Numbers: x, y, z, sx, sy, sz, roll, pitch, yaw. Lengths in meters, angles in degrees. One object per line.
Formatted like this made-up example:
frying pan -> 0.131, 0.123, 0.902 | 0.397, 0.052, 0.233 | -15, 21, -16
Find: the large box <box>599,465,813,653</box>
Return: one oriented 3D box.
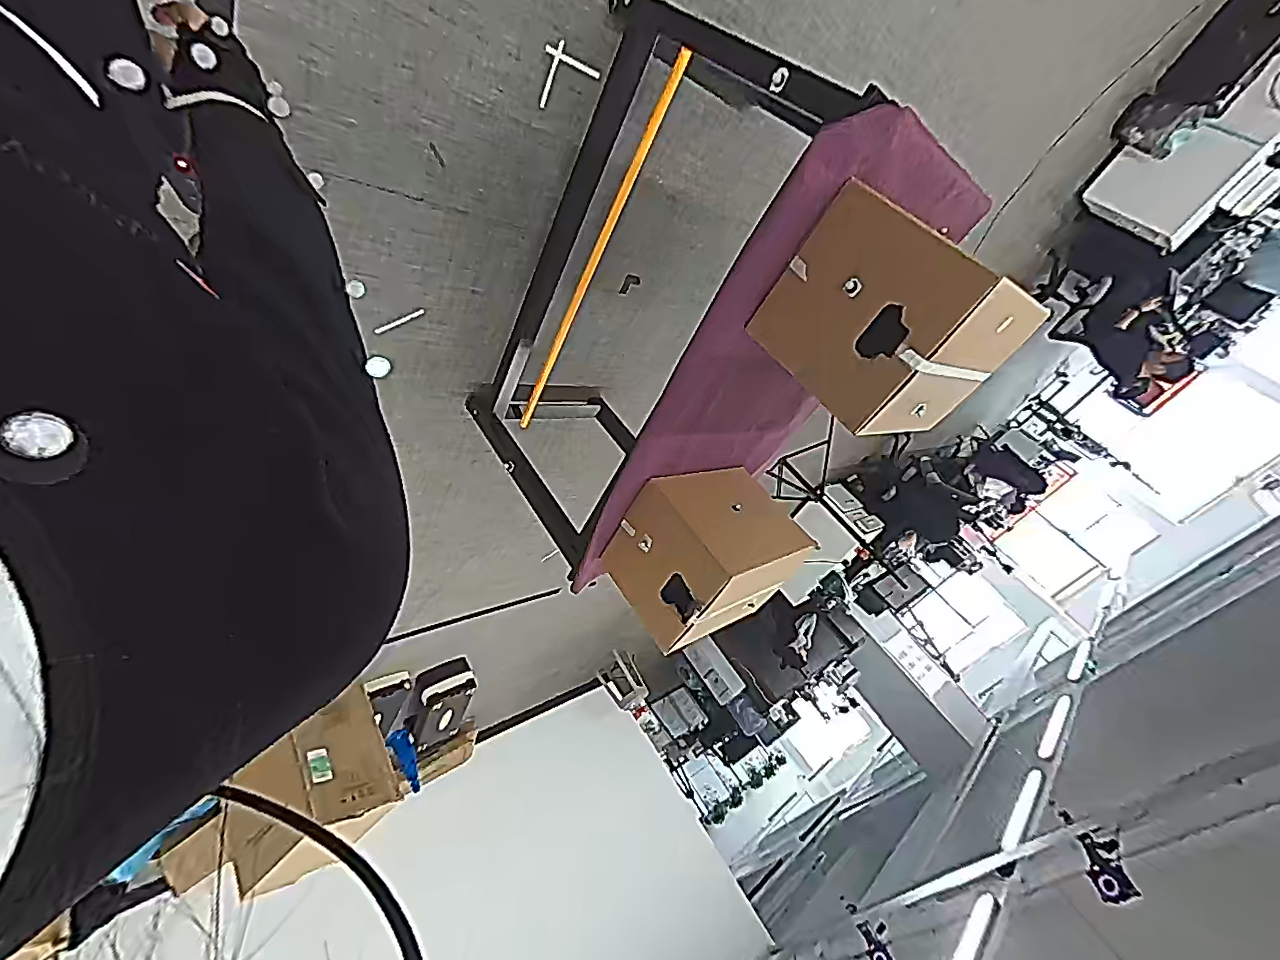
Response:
large box -> 0.168, 0.186, 1.432 | 0.408, 0.320, 0.320 | -9, 141, -46
